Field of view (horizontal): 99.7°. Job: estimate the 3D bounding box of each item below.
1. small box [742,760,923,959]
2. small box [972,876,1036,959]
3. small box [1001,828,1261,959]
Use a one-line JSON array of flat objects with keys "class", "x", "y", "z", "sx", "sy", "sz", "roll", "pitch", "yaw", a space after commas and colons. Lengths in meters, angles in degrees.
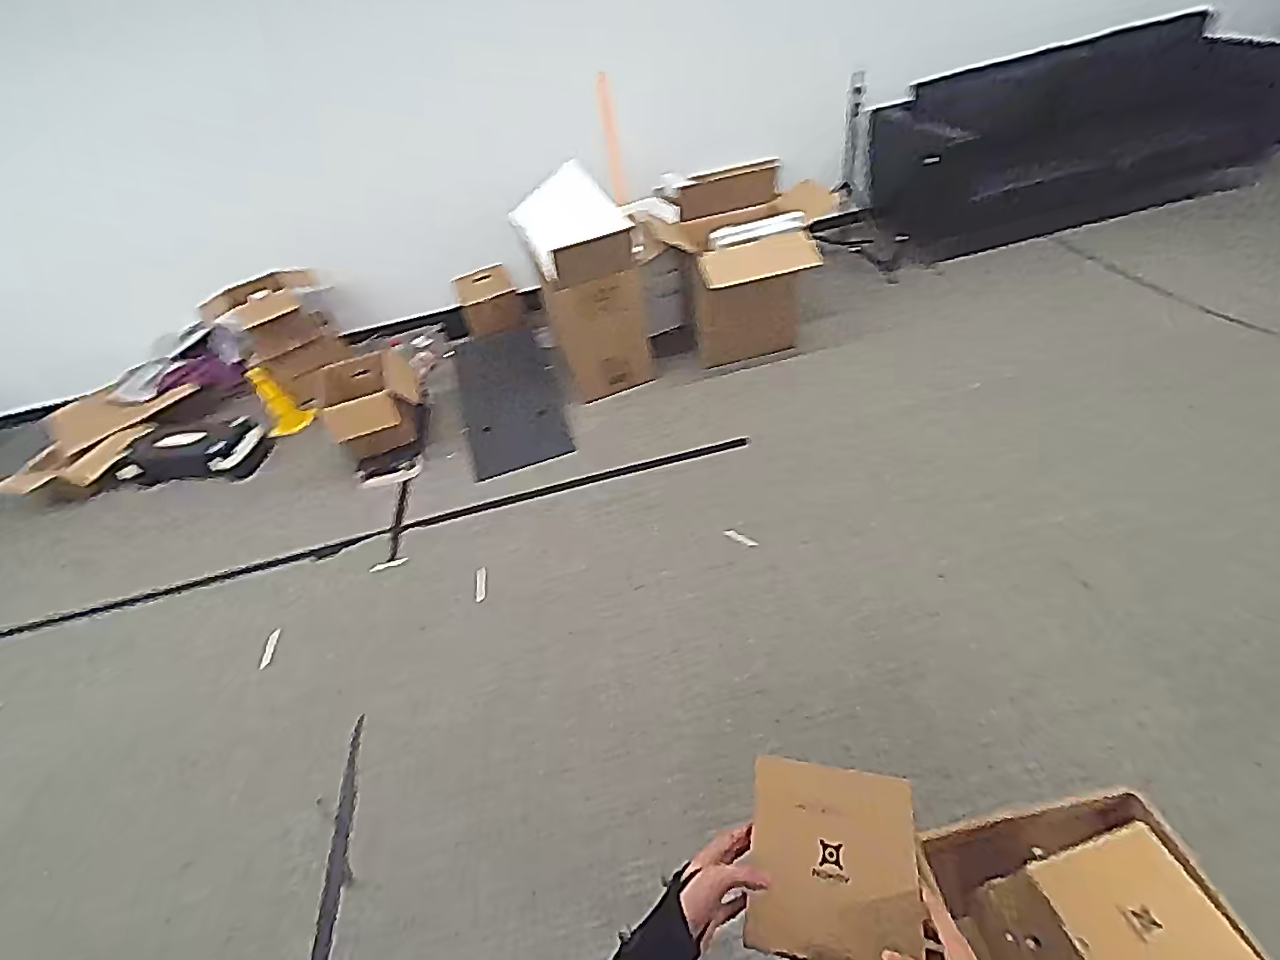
[{"class": "small box", "x": 0.206, "y": 0.442, "z": 0.612, "sx": 0.168, "sy": 0.176, "sz": 0.179, "roll": 3, "pitch": 52, "yaw": 13}, {"class": "small box", "x": 0.651, "y": 0.699, "z": 0.820, "sx": 0.179, "sy": 0.176, "sz": 0.168, "roll": -14, "pitch": 44, "yaw": -3}, {"class": "small box", "x": 0.622, "y": 0.588, "z": 0.703, "sx": 0.179, "sy": 0.176, "sz": 0.168, "roll": -18, "pitch": 45, "yaw": -4}]
